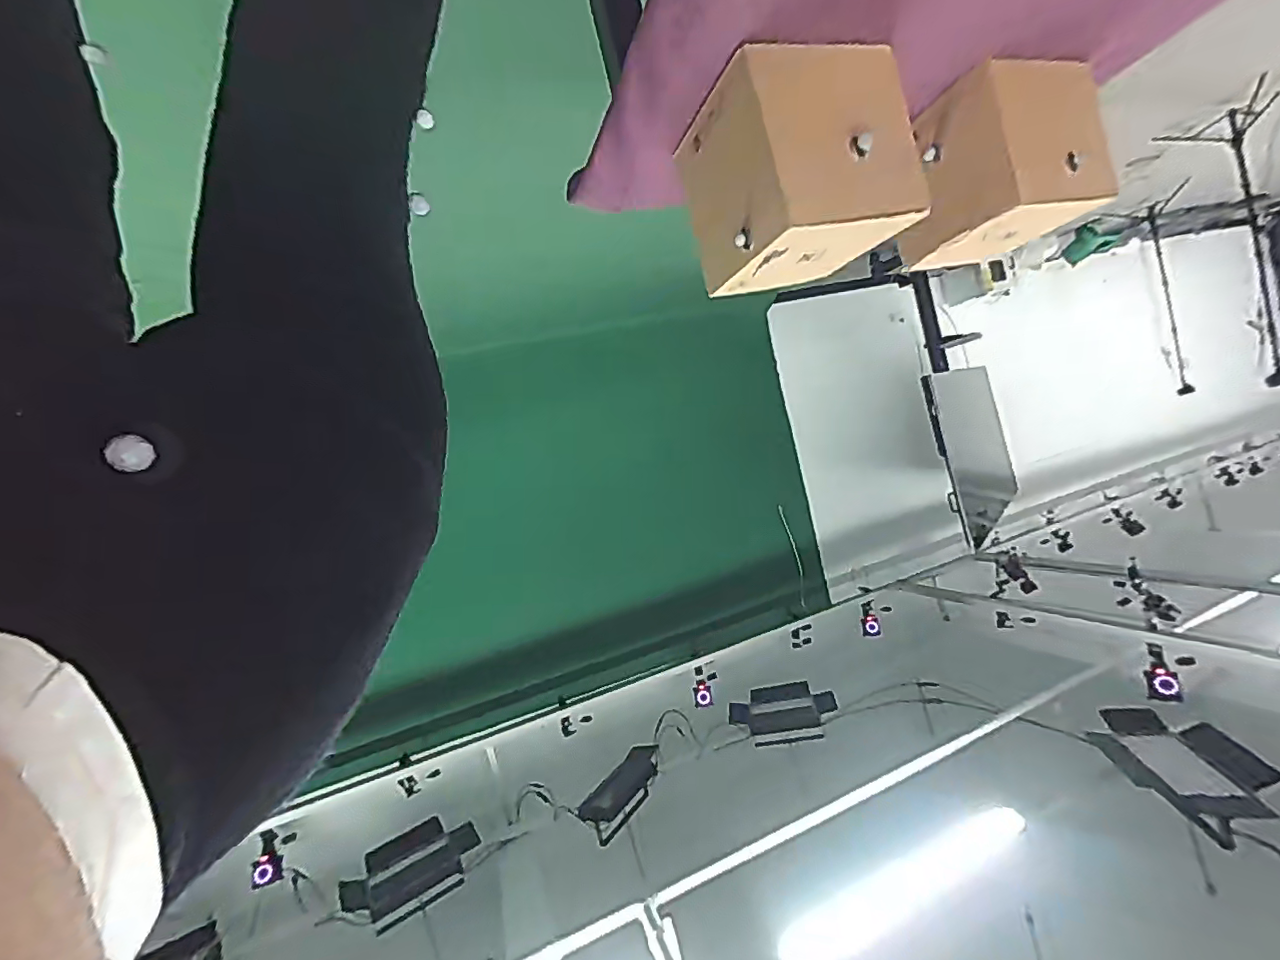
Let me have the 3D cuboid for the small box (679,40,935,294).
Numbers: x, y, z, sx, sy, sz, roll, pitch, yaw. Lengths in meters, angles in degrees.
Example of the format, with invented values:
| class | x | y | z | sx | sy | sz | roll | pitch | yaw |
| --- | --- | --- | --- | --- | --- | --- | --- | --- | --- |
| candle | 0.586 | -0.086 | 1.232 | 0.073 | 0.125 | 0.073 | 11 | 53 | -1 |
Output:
| class | x | y | z | sx | sy | sz | roll | pitch | yaw |
| --- | --- | --- | --- | --- | --- | --- | --- | --- | --- |
| small box | 0.166 | -0.323 | 0.574 | 0.179 | 0.176 | 0.168 | -17 | -179 | -19 |

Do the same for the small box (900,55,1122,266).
| class | x | y | z | sx | sy | sz | roll | pitch | yaw |
| --- | --- | --- | --- | --- | --- | --- | --- | --- | --- |
| small box | 0.451 | -0.396 | 0.686 | 0.179 | 0.176 | 0.168 | -13 | 179 | -19 |
